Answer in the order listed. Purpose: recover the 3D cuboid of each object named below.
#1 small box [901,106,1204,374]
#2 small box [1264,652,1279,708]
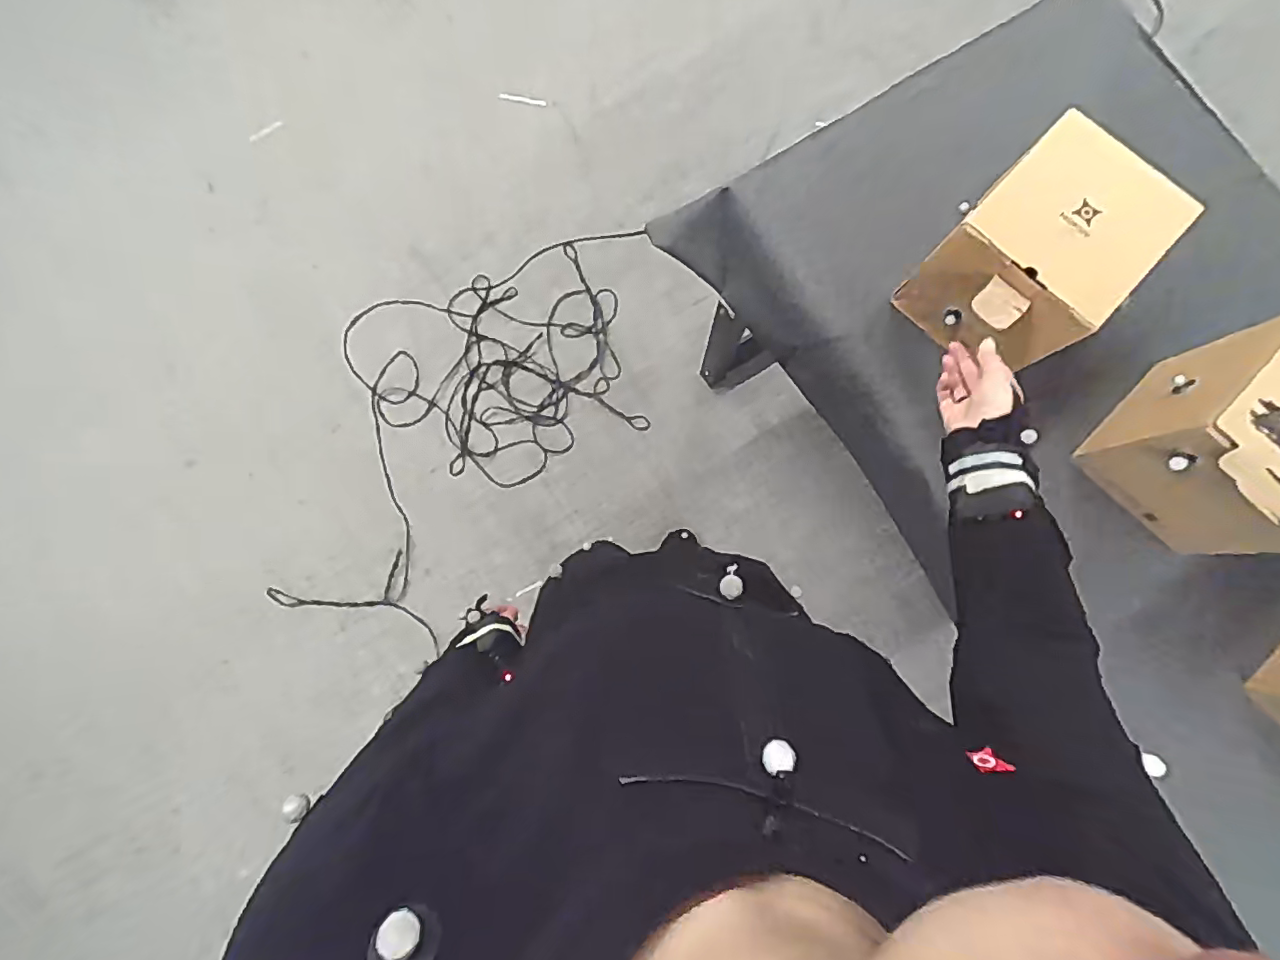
[{"bbox_3d":[0.438,-0.252,0.608,0.168,0.176,0.179,43,86,6],"label":"small box"},{"bbox_3d":[0.809,0.226,0.537,0.179,0.176,0.168,-42,85,-6],"label":"small box"}]
